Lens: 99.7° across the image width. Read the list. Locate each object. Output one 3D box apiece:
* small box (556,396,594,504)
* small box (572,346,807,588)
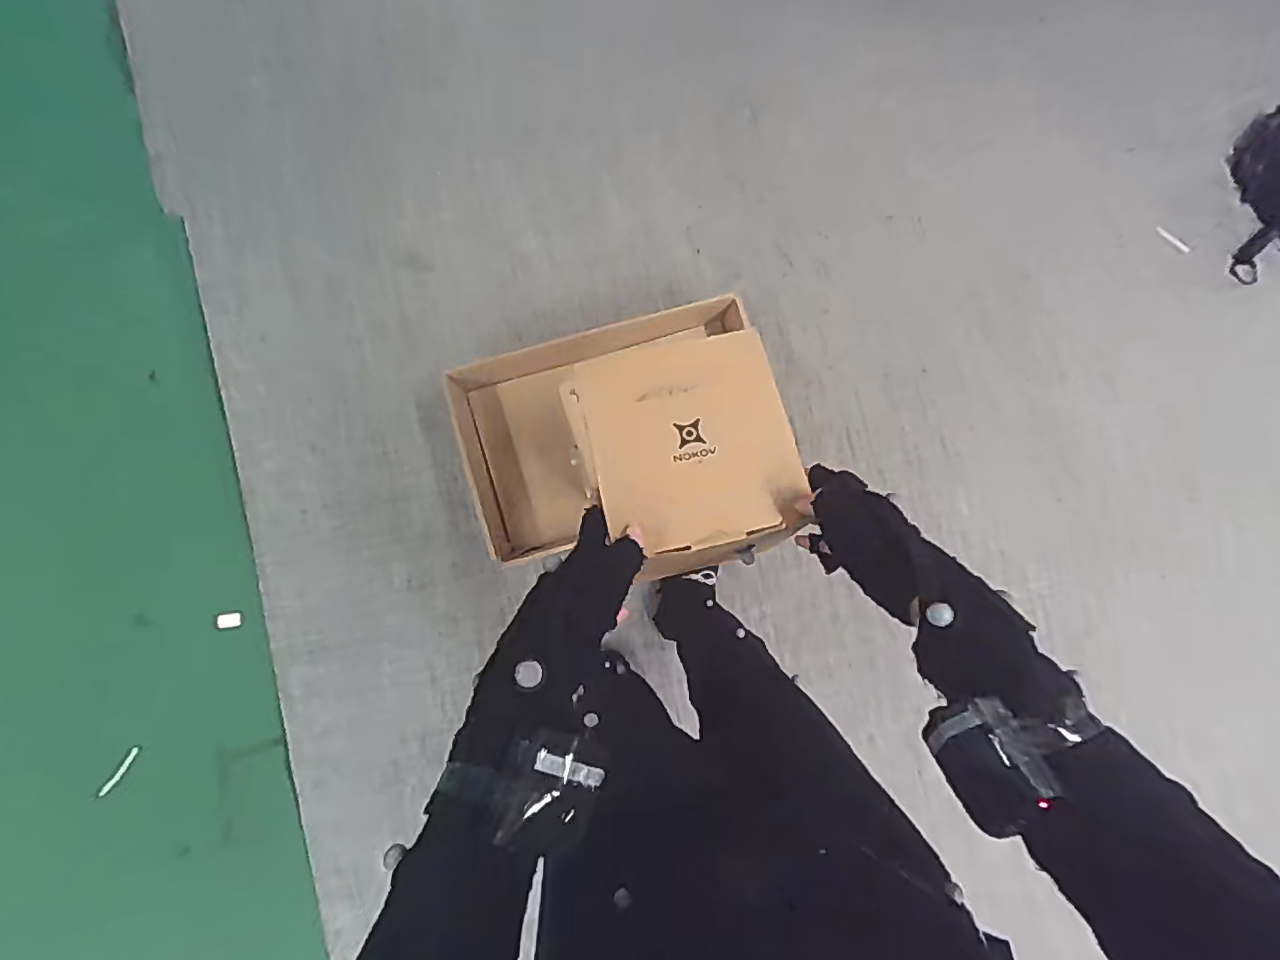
[{"bbox_3d":[-0.039,-0.063,0.951,0.168,0.176,0.179,-18,87,-5],"label":"small box"},{"bbox_3d":[0.036,0.001,0.525,0.168,0.176,0.179,-12,72,-6],"label":"small box"}]
